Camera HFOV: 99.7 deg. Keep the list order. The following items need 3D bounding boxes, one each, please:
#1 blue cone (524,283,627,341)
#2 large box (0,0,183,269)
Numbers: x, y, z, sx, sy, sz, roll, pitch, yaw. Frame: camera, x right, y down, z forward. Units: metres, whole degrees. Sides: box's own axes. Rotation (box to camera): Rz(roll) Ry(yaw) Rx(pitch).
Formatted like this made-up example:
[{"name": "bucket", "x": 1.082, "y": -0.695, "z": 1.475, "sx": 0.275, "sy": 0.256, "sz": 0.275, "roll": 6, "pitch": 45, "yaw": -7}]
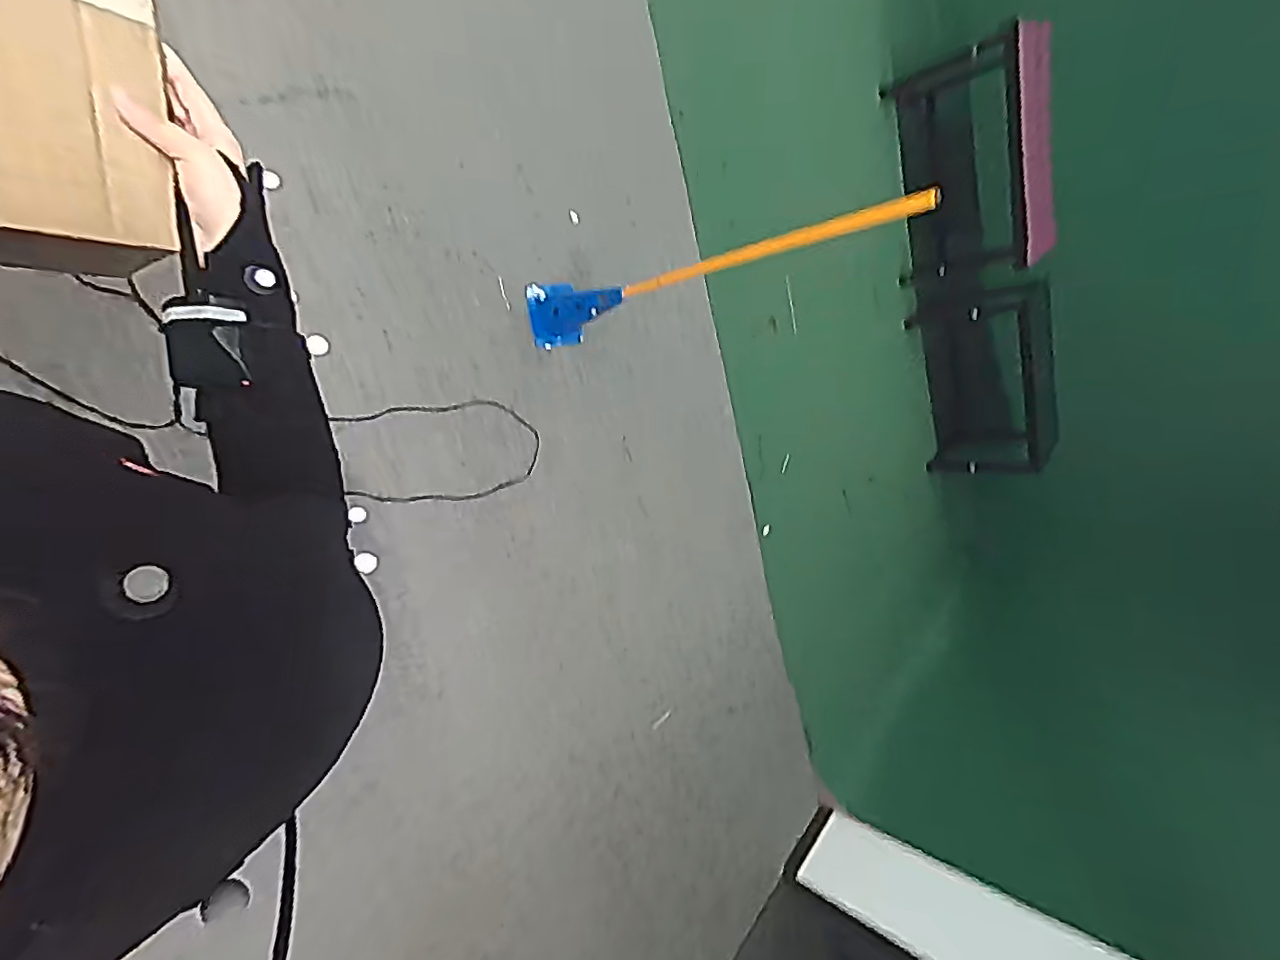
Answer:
[{"name": "blue cone", "x": -0.187, "y": -0.559, "z": 1.702, "sx": 0.192, "sy": 0.380, "sz": 0.193, "roll": -19, "pitch": 105, "yaw": -42}, {"name": "large box", "x": -0.586, "y": -0.331, "z": 0.329, "sx": 0.408, "sy": 0.320, "sz": 0.320, "roll": -10, "pitch": 109, "yaw": -49}]
